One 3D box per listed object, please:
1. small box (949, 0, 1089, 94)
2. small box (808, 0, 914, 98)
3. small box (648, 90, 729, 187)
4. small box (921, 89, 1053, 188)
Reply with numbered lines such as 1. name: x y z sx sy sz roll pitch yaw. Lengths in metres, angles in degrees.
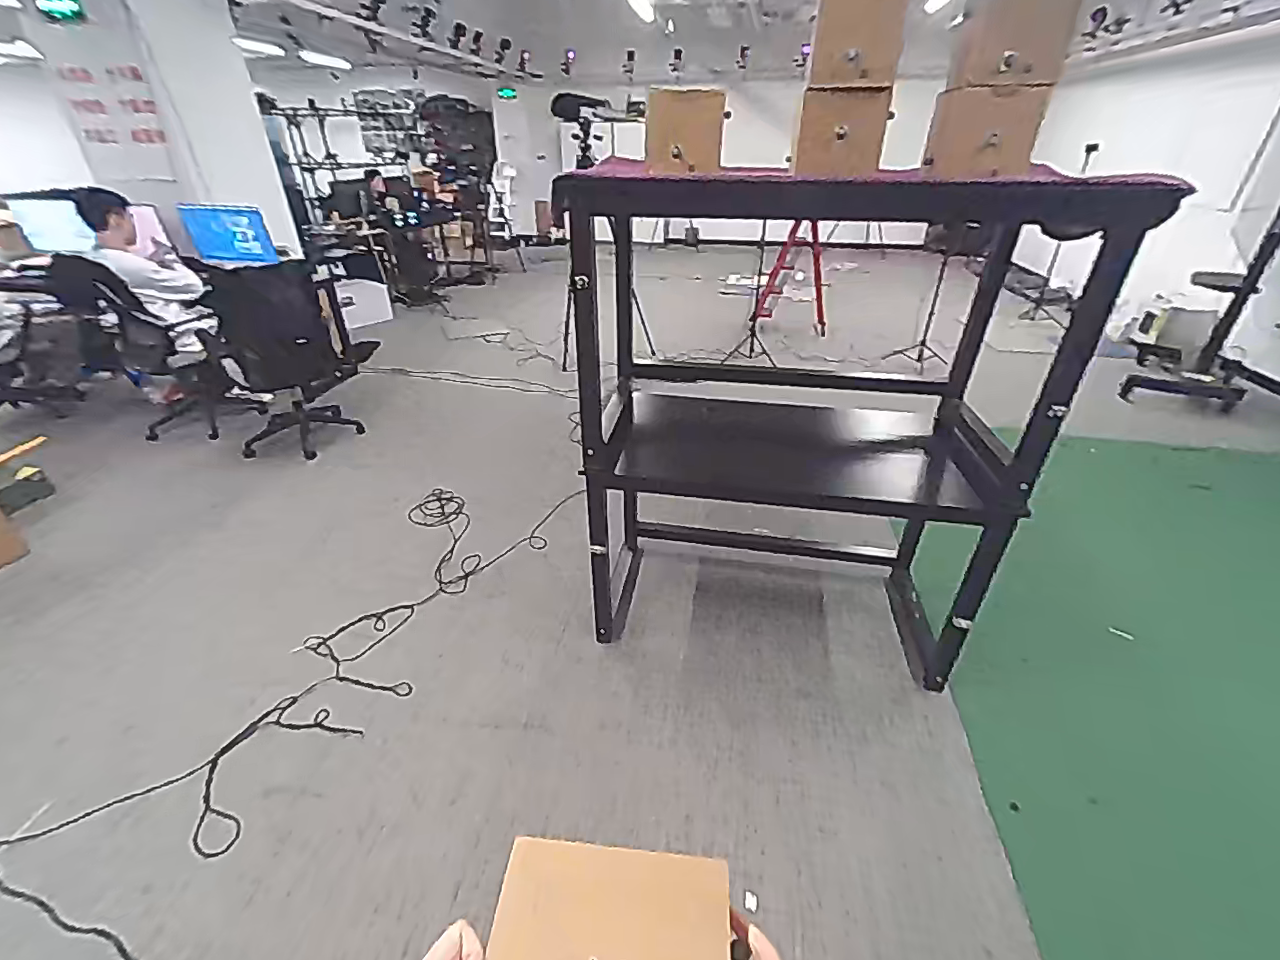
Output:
1. small box: 0.726 -0.853 1.052 0.168 0.176 0.179 6 33 12
2. small box: 0.436 -0.878 1.090 0.168 0.176 0.179 7 33 12
3. small box: 0.108 -0.764 1.218 0.168 0.176 0.179 4 31 5
4. small box: 0.717 -0.716 1.140 0.168 0.176 0.179 6 33 9
